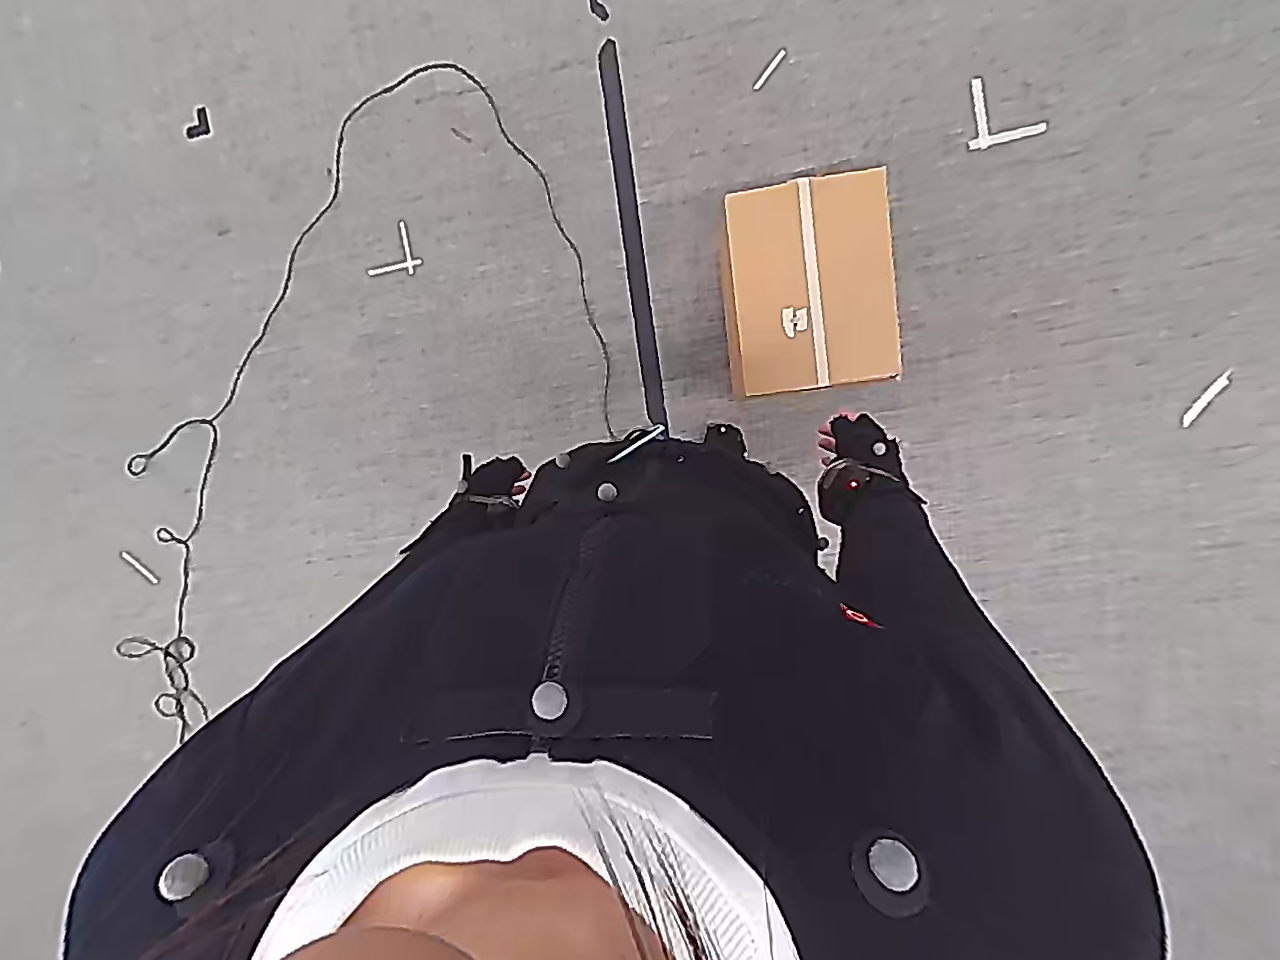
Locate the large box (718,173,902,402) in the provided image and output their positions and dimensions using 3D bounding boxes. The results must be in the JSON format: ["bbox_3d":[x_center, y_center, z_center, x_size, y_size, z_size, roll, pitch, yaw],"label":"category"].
[{"bbox_3d":[0.363,-0.402,1.232,0.320,0.320,0.408,-7,96,7],"label":"large box"}]
